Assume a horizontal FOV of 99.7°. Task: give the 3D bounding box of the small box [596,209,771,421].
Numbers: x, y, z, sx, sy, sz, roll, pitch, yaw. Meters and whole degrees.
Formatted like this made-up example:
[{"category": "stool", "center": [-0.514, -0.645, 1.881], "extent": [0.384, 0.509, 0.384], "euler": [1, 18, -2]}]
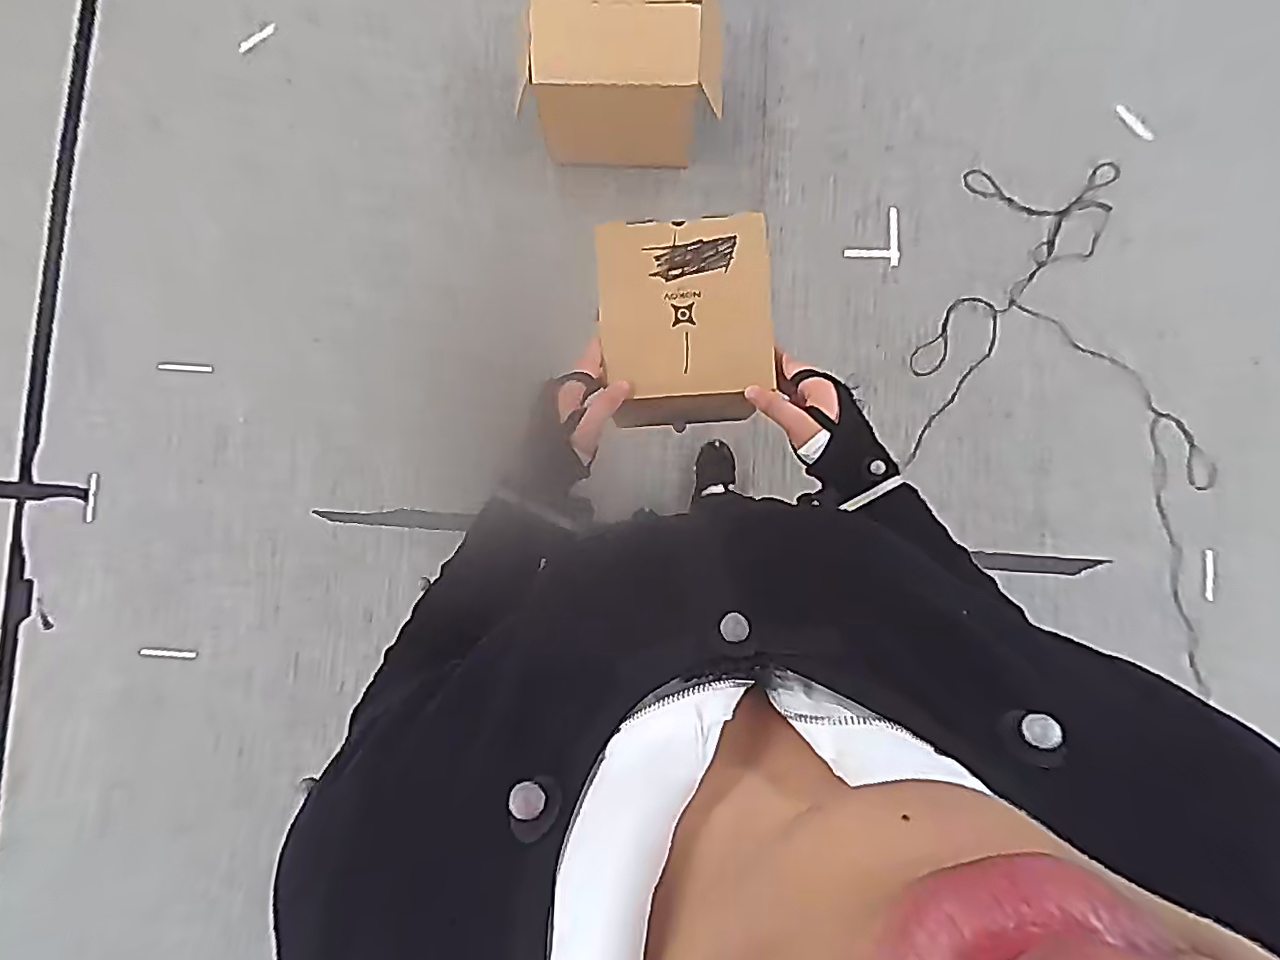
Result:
[{"category": "small box", "center": [0.042, -0.169, 0.600], "extent": [0.168, 0.176, 0.179], "euler": [-3, 87, 2]}]
